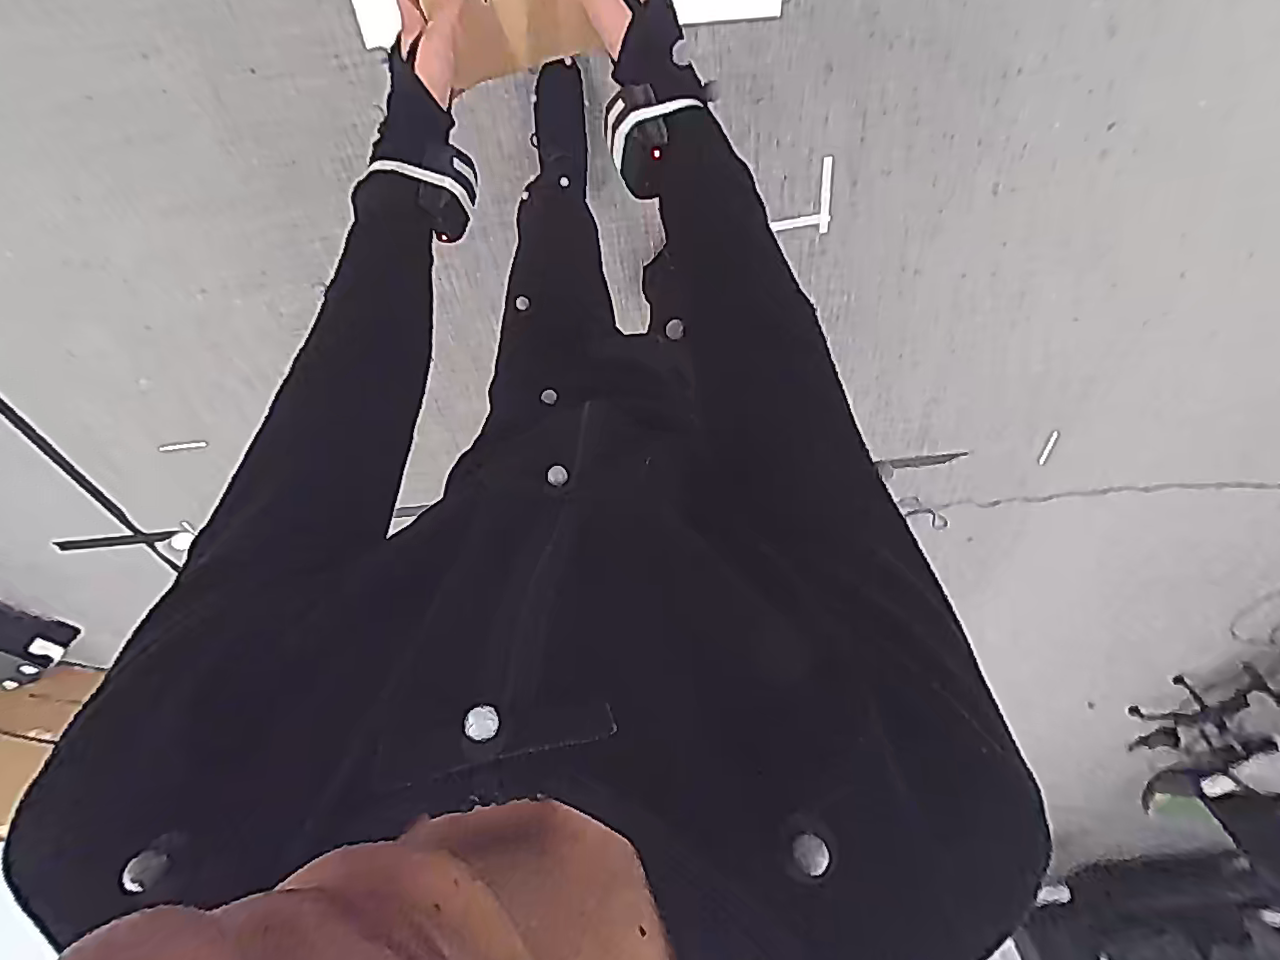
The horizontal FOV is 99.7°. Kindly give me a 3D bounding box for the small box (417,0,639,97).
[{"bbox_3d":[-0.111,-0.475,0.475,0.179,0.176,0.168,-15,141,3],"label":"small box"}]
